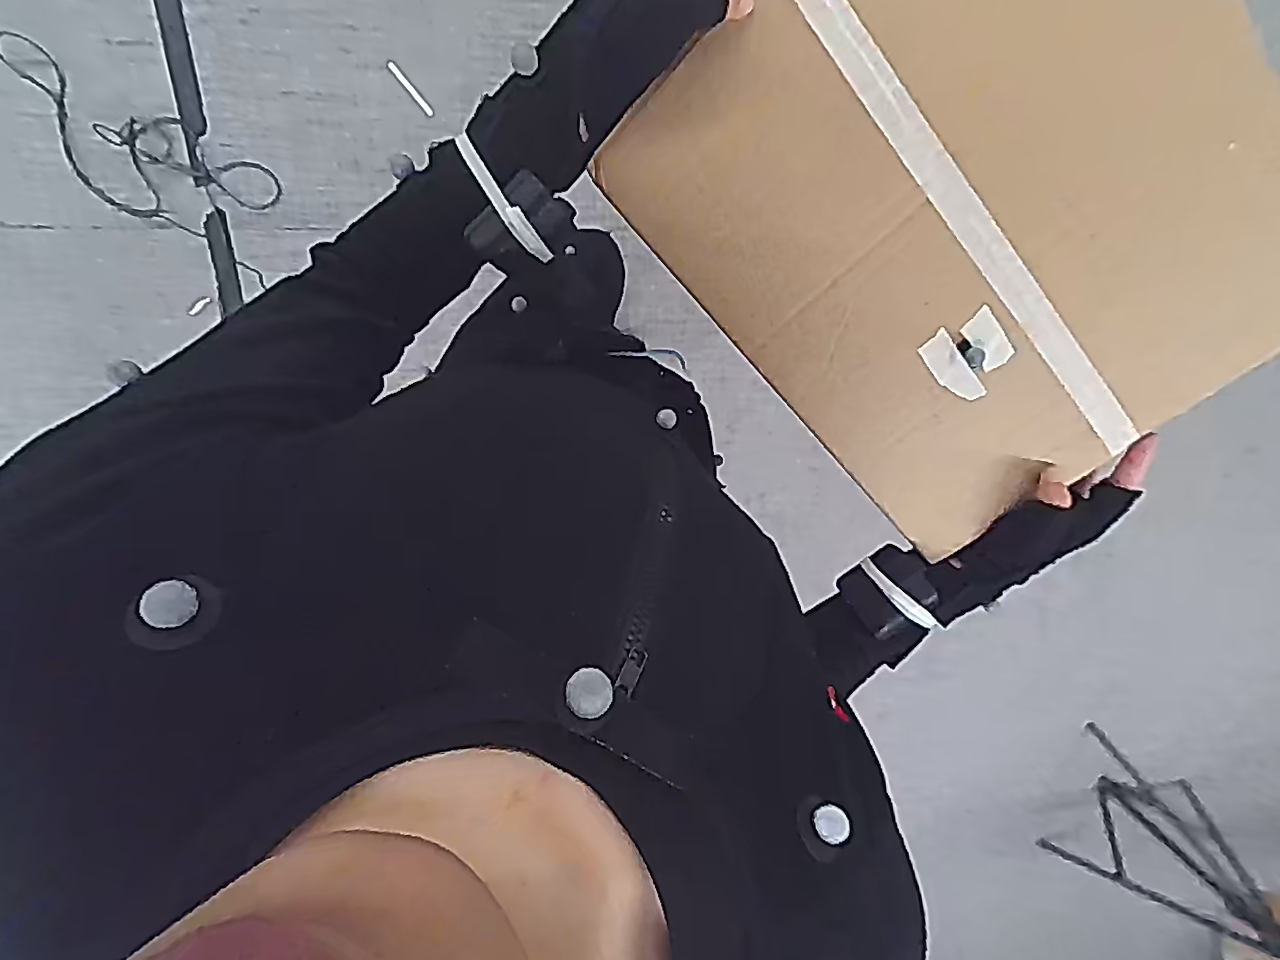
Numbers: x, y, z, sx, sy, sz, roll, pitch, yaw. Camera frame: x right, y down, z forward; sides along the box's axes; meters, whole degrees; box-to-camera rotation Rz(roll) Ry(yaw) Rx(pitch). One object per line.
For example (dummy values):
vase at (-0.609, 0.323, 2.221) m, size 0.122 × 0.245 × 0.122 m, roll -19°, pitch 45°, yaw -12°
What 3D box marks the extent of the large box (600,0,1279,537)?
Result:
large box at (0.225, -0.235, 0.492) m, size 0.320 × 0.320 × 0.408 m, roll -40°, pitch 107°, yaw 22°
